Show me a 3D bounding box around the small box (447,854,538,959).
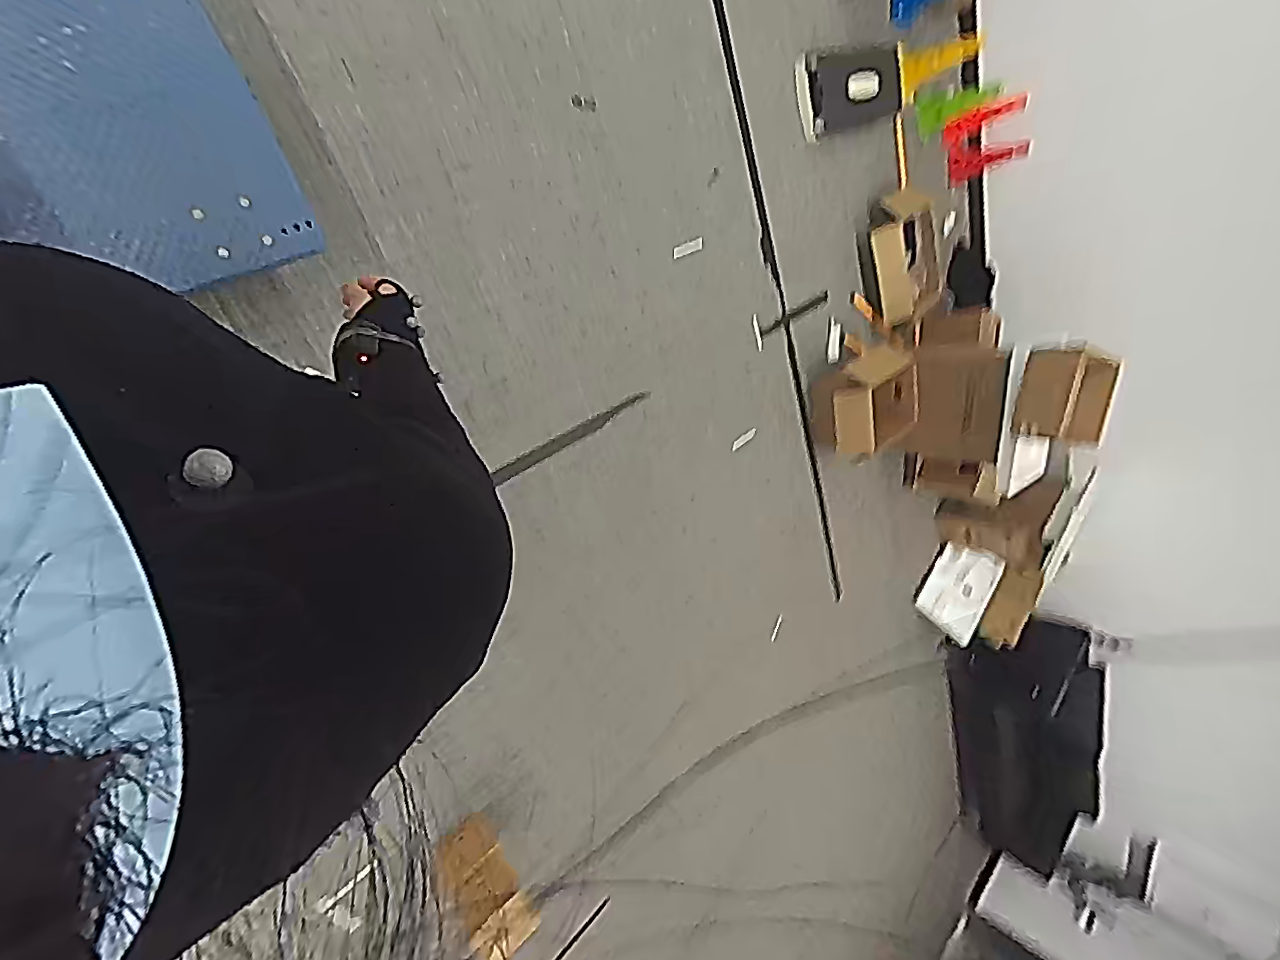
[{"bbox_3d":[-0.427,1.239,1.558,0.168,0.176,0.179,-31,116,-32],"label":"small box"}]
